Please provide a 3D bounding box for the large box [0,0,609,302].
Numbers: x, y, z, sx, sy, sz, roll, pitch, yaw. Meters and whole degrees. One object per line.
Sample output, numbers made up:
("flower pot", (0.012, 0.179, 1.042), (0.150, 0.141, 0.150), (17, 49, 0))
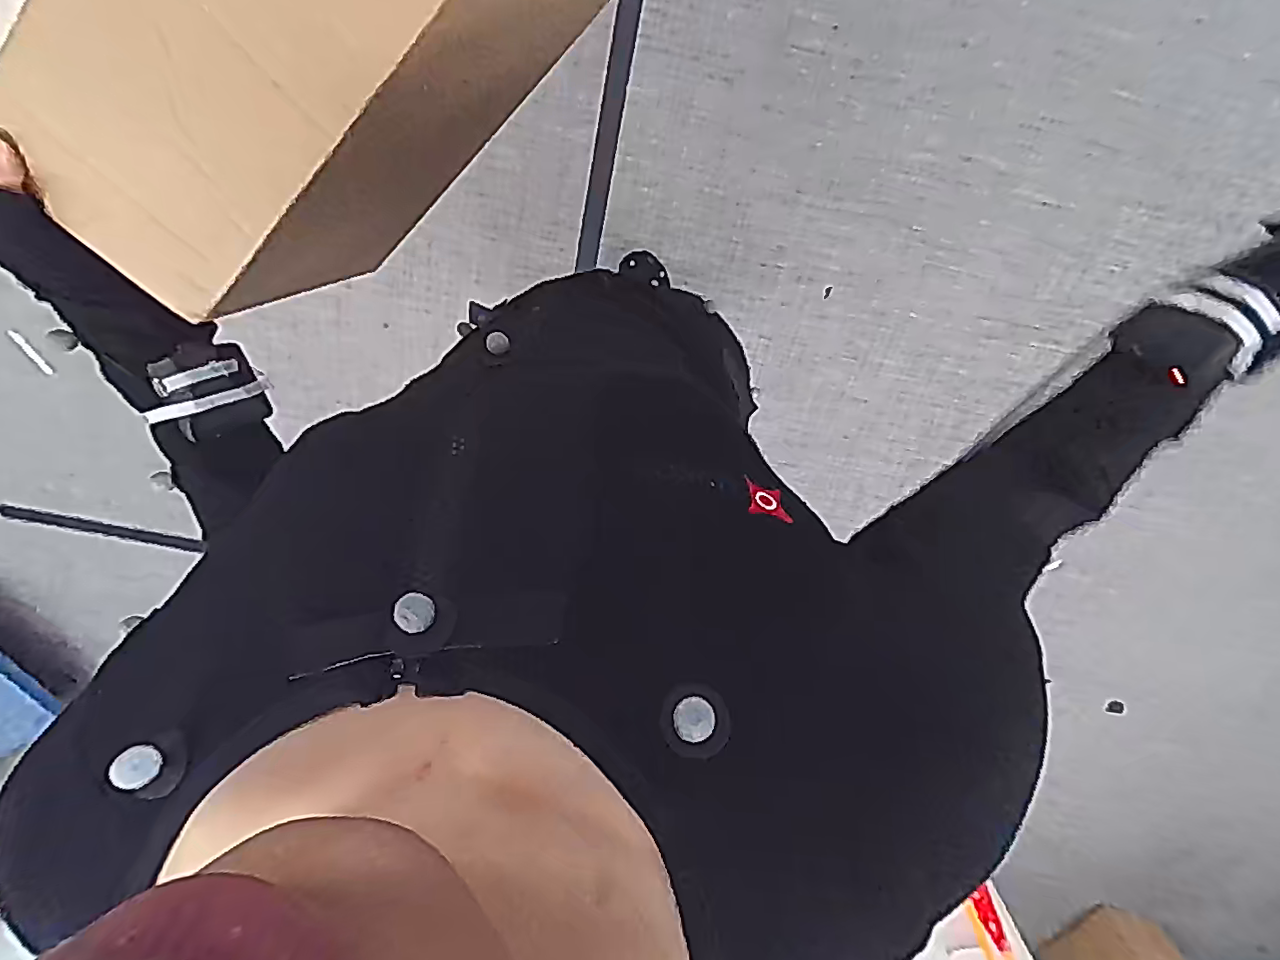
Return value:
("large box", (-0.261, -0.407, 0.412), (0.408, 0.320, 0.320), (-40, 112, 15))
